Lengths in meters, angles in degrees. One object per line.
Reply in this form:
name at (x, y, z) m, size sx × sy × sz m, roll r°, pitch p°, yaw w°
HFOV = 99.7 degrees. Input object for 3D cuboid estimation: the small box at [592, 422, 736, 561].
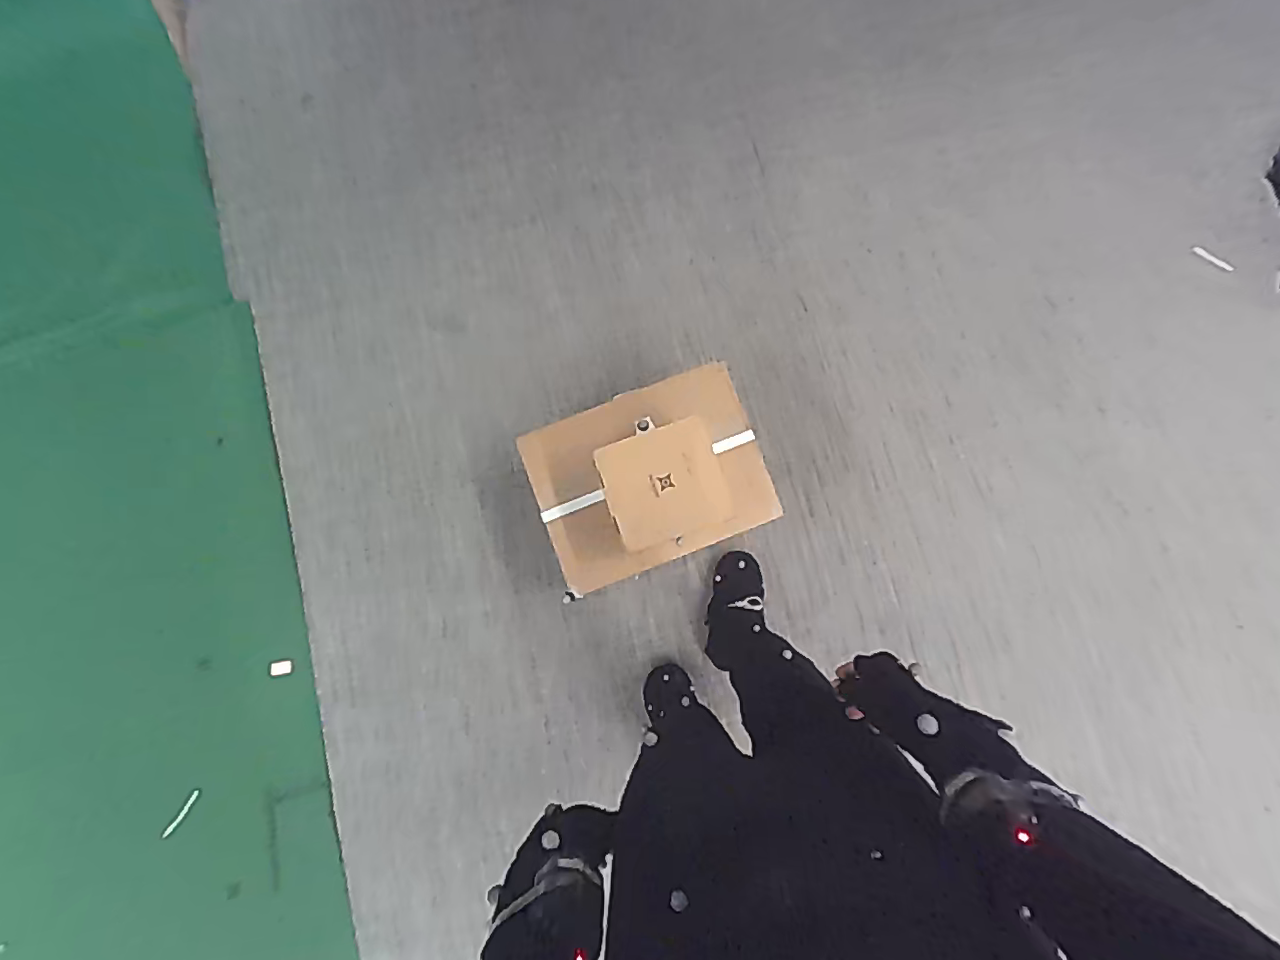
small box at (0.037, 0.026, 0.874) m, size 0.179 × 0.176 × 0.168 m, roll -20°, pitch 84°, yaw -2°
